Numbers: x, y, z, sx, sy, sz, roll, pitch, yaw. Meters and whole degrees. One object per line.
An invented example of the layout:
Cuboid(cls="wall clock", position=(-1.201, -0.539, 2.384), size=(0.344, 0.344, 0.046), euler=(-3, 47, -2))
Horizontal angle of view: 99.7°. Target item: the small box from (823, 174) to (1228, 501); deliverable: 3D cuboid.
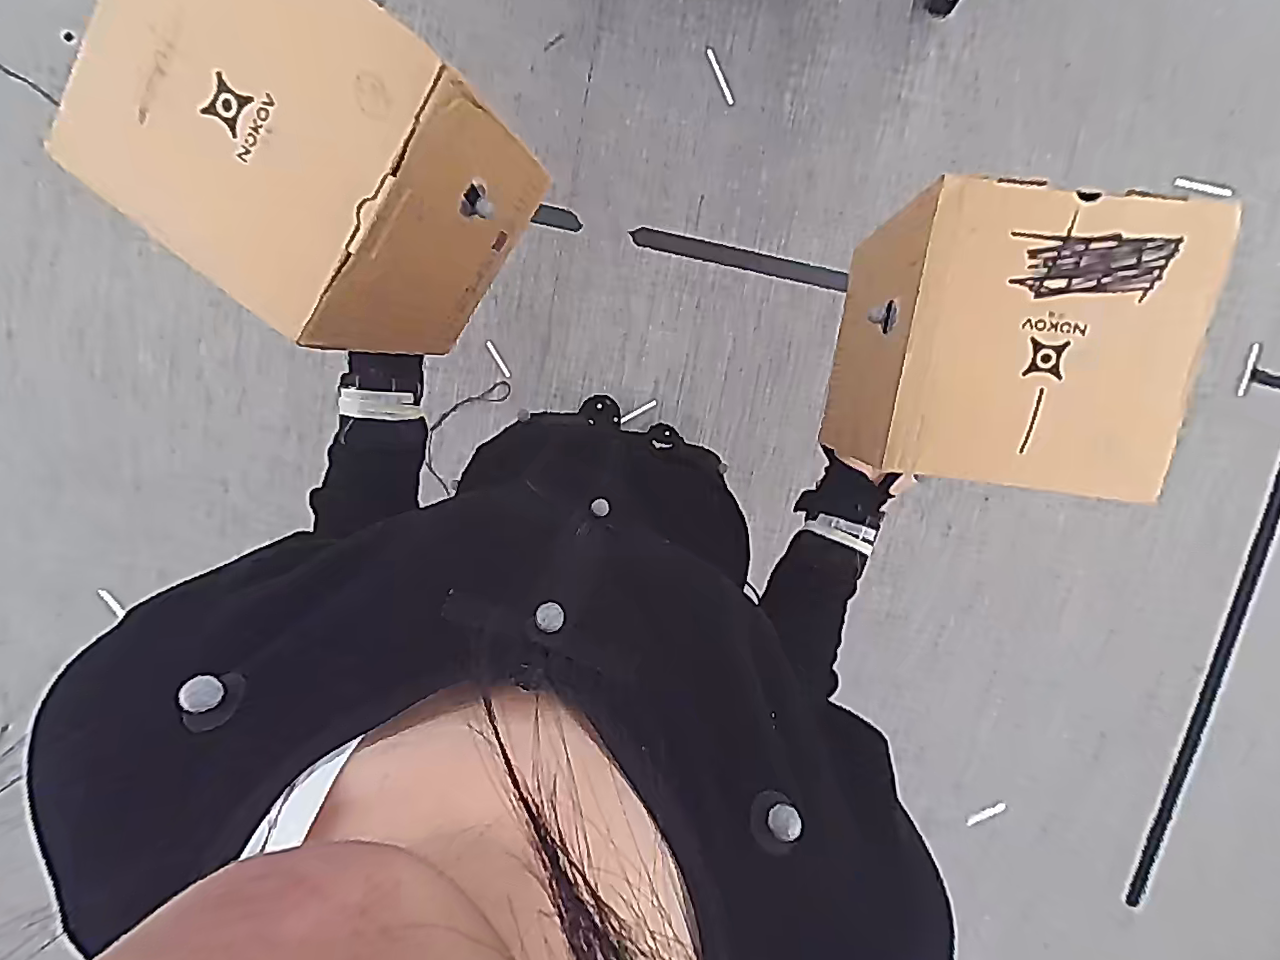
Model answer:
Cuboid(cls="small box", position=(0.249, -0.096, 0.403), size=(0.168, 0.176, 0.179), euler=(8, 101, 3))

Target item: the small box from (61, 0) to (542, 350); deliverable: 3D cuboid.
Cuboid(cls="small box", position=(-0.192, -0.202, 0.356), size=(0.179, 0.176, 0.168), euler=(37, 103, 0))
